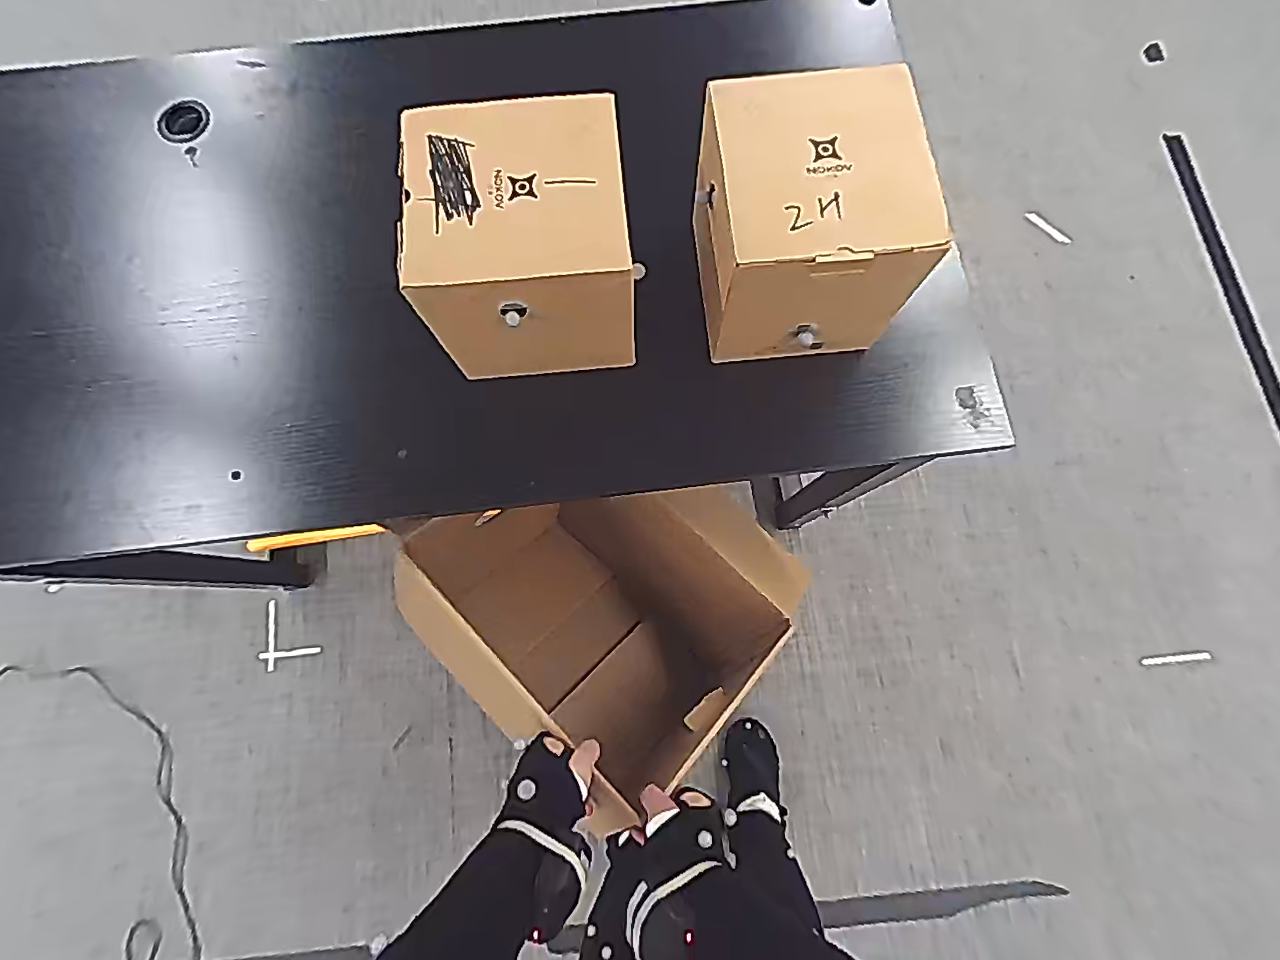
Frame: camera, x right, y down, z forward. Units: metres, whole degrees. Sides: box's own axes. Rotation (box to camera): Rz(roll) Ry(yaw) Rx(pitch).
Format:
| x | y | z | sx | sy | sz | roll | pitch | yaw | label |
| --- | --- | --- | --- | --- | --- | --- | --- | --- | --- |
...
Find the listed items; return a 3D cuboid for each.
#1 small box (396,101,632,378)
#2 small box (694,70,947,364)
| x | y | z | sx | sy | sz | roll | pitch | yaw | label |
| --- | --- | --- | --- | --- | --- | --- | --- | --- | --- |
| -0.101 | -0.204 | 0.498 | 0.179 | 0.176 | 0.168 | -5 | 77 | -1 | small box |
| 0.144 | -0.228 | 0.501 | 0.168 | 0.176 | 0.179 | -5 | 76 | 1 | small box |
